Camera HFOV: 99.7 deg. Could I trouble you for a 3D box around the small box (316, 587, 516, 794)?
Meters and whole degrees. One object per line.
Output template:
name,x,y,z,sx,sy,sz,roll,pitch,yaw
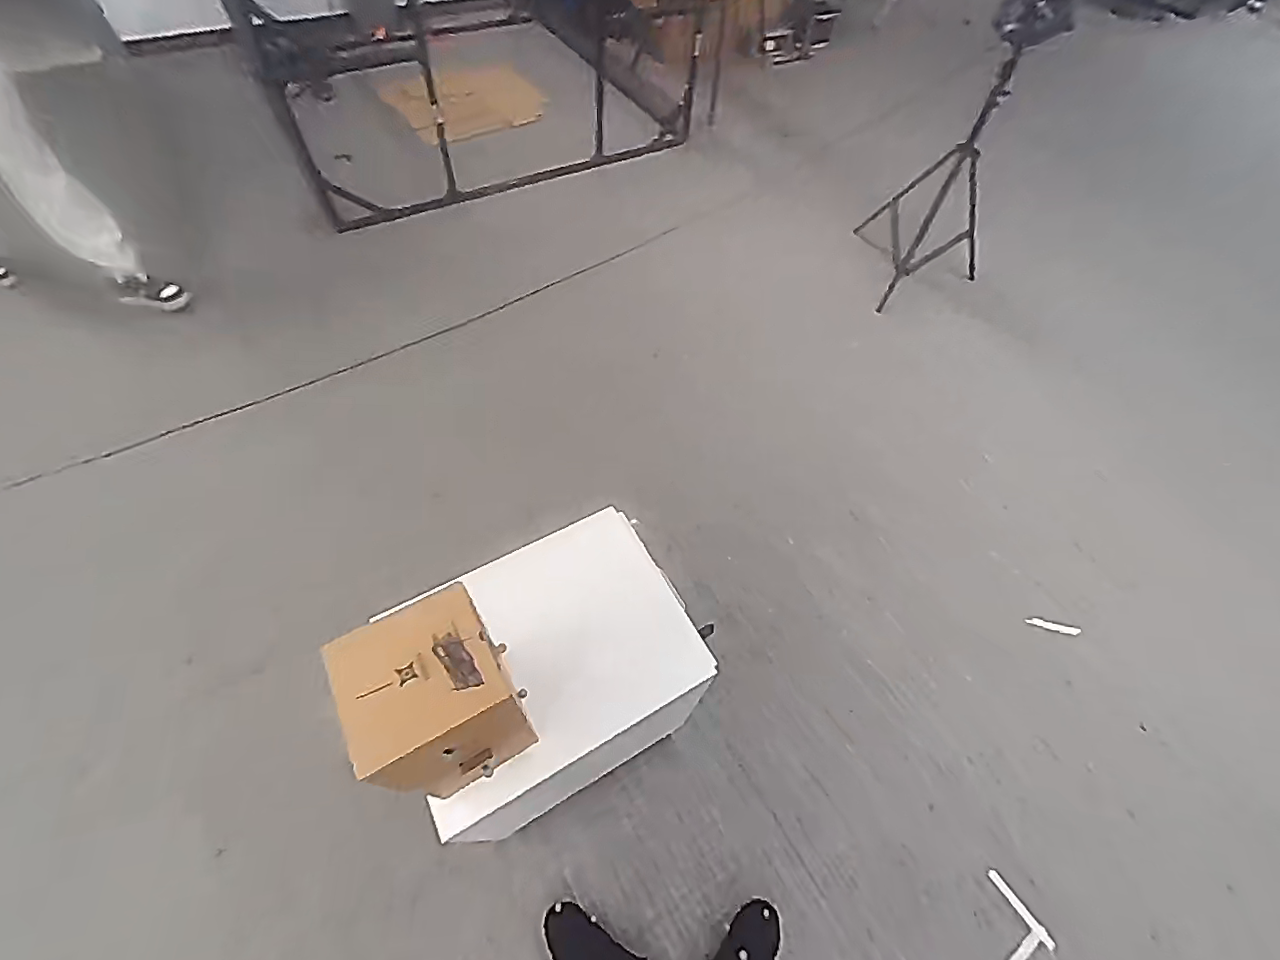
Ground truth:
small box,-0.269,0.270,0.689,0.179,0.176,0.168,-26,61,-18

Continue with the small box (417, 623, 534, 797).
small box,-0.278,0.355,0.829,0.168,0.176,0.179,-26,62,-18
